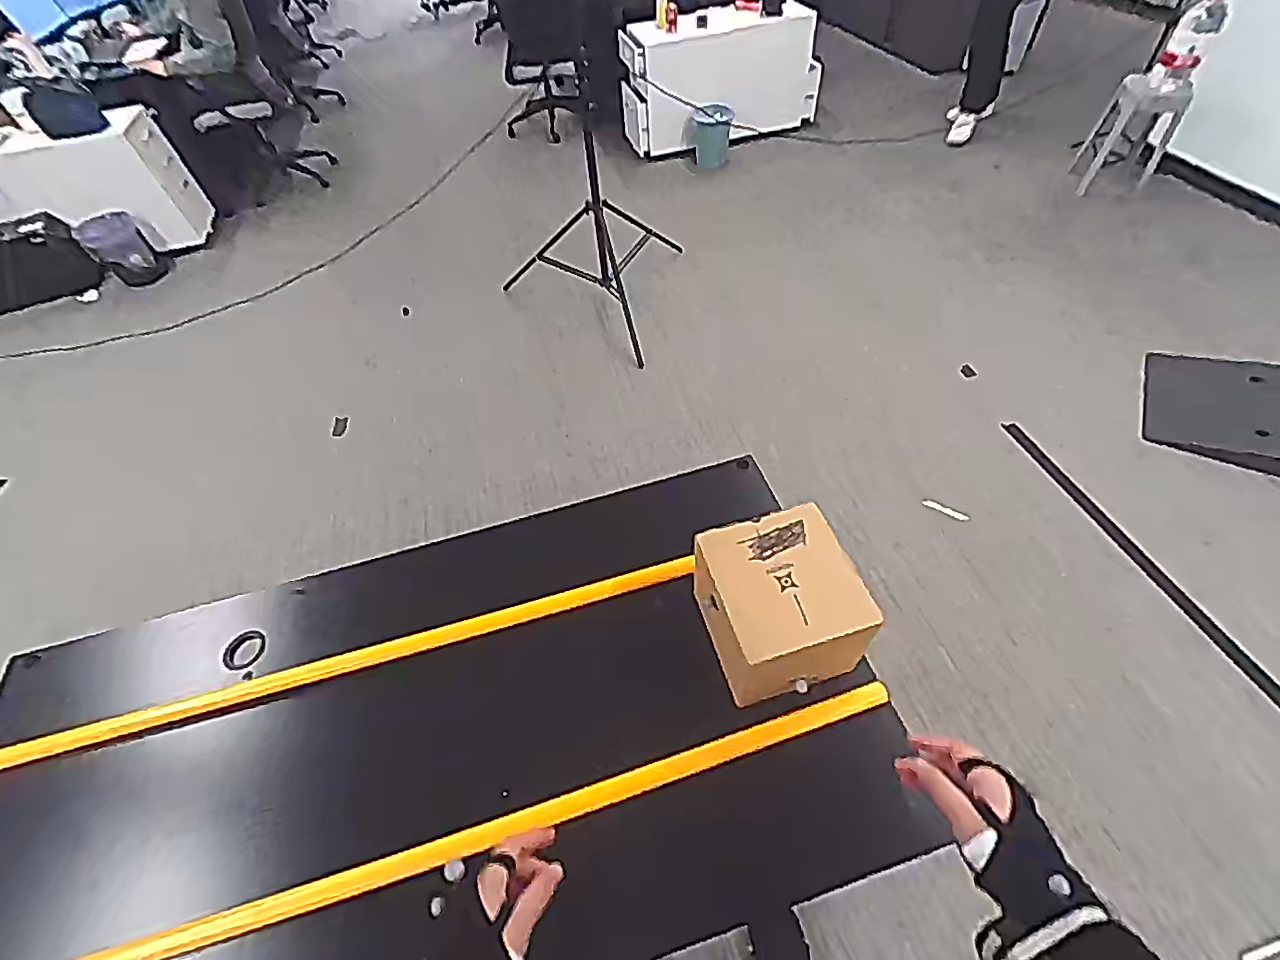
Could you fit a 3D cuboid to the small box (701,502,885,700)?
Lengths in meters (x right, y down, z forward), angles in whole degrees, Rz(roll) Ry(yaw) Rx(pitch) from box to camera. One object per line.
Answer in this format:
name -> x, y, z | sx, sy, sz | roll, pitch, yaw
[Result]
small box -> 0.182, 0.161, 0.711 | 0.168, 0.176, 0.179 | -15, 53, -6
